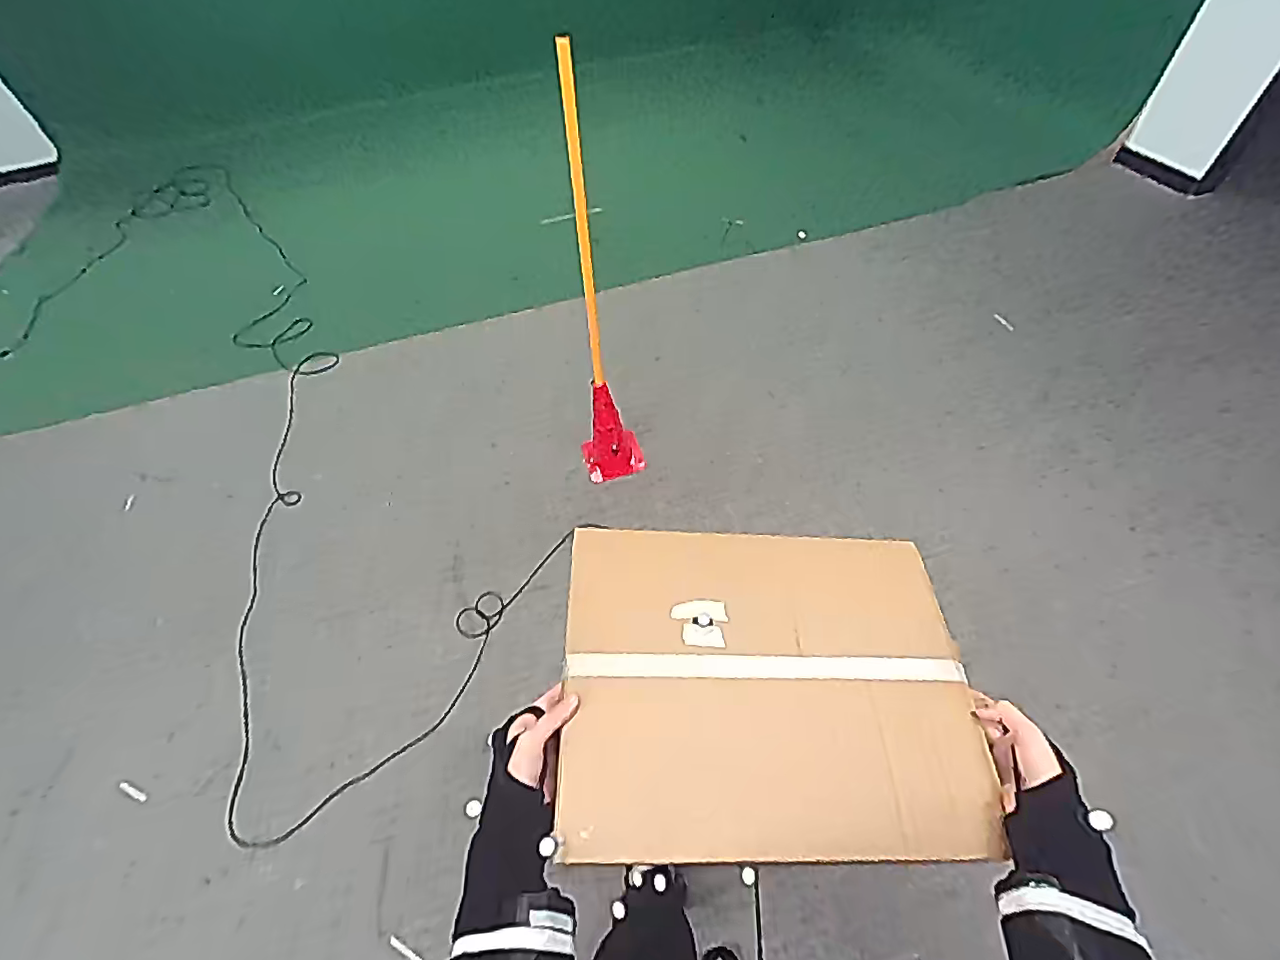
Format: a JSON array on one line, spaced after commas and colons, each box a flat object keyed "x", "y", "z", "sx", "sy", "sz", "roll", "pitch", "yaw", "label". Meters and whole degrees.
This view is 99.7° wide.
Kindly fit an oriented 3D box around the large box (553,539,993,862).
[{"x": 0.112, "y": 0.283, "z": 0.677, "sx": 0.408, "sy": 0.320, "sz": 0.320, "roll": 2, "pitch": 54, "yaw": -4, "label": "large box"}]
